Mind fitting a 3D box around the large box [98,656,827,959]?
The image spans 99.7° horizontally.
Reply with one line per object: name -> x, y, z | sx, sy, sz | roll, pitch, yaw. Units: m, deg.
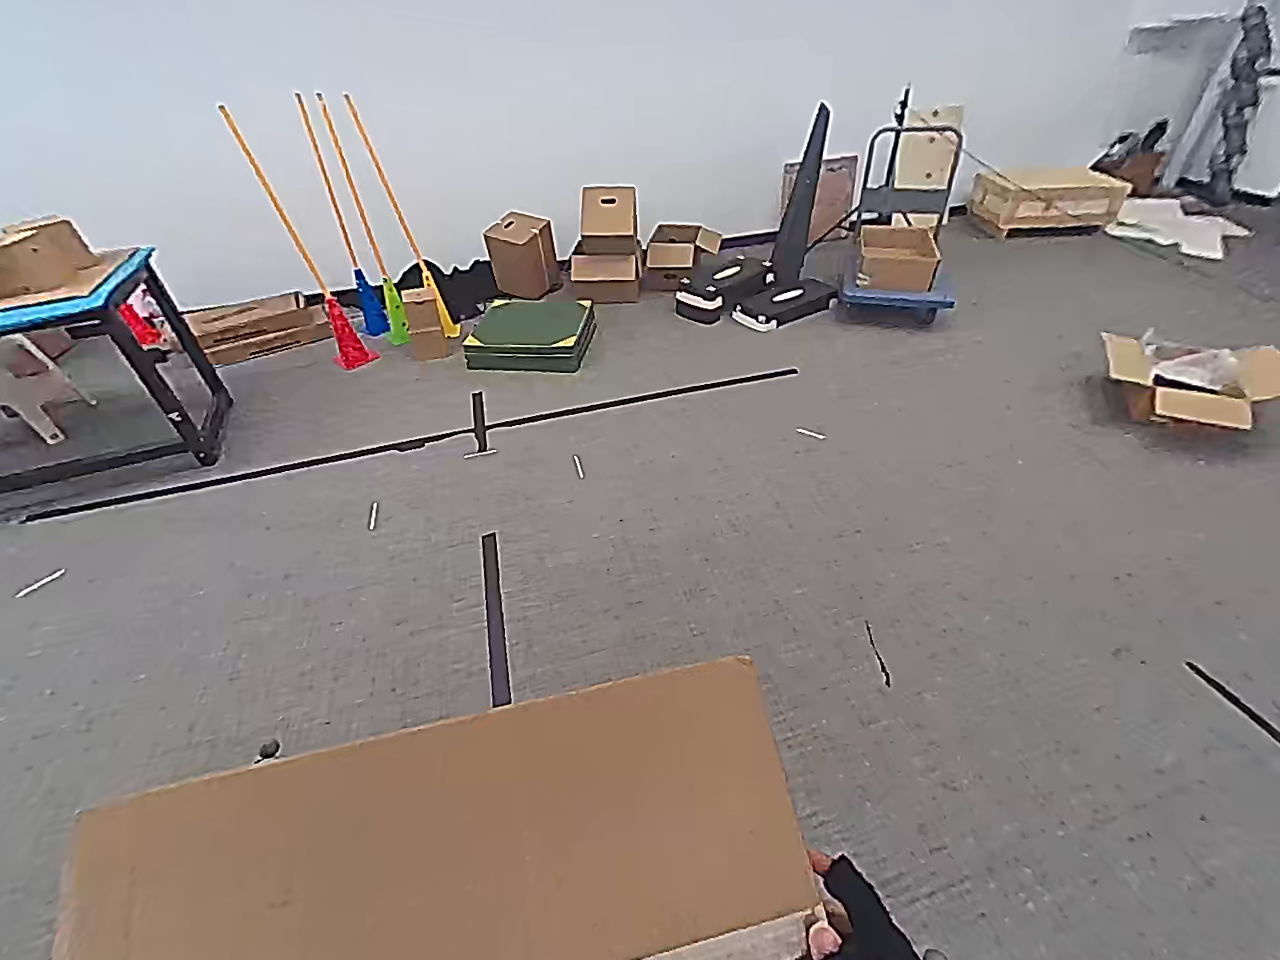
large box -> -0.100, 0.356, 0.434 | 0.408, 0.320, 0.320 | -10, 69, -9
